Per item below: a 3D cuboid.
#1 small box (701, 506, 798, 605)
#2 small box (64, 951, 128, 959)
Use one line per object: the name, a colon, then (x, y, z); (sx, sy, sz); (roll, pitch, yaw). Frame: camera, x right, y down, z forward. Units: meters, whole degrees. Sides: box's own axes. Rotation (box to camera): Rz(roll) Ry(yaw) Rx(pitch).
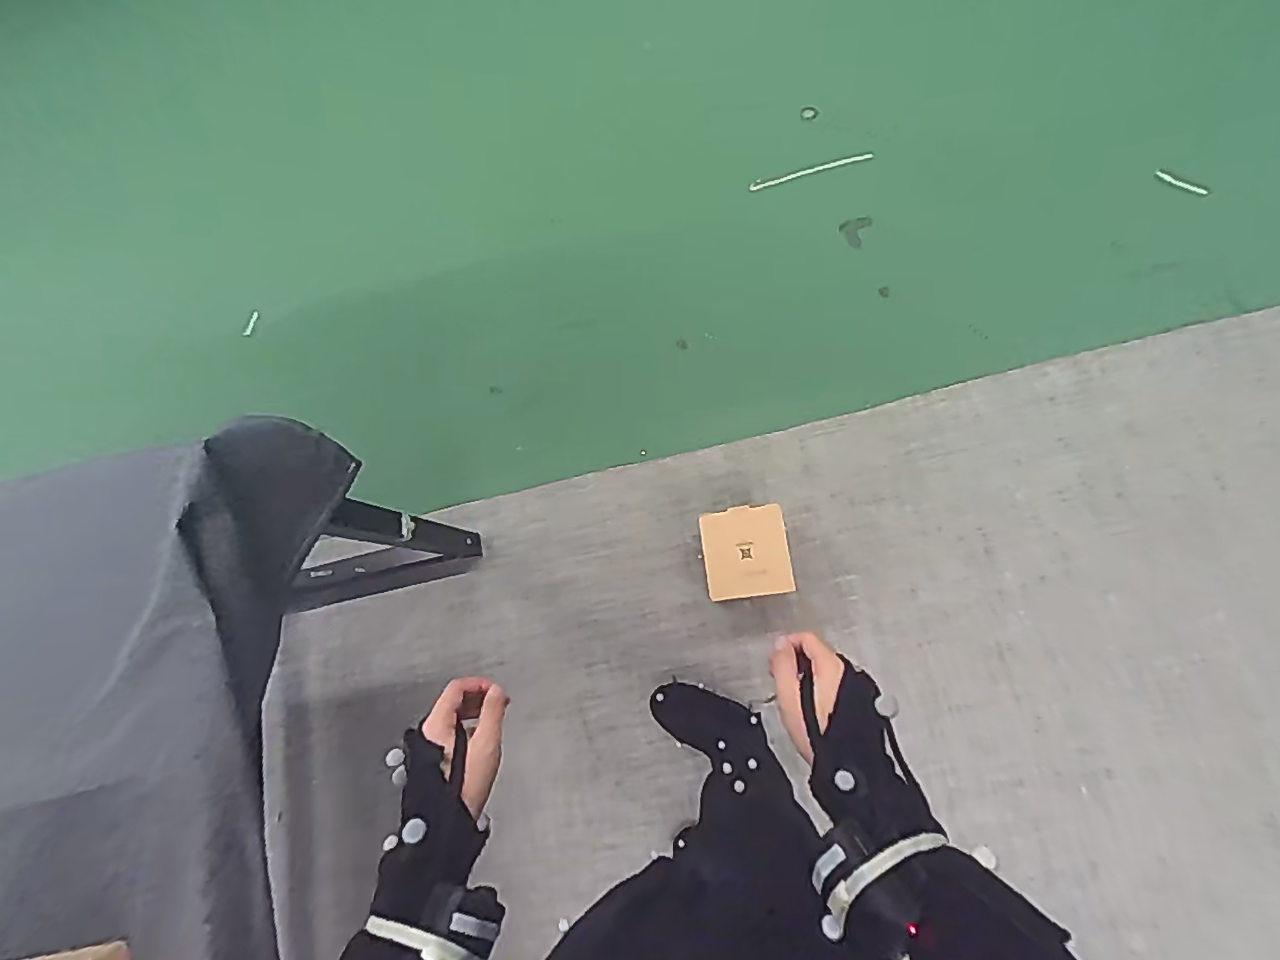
small box: (0.222, 0.164, 1.129); (0.168, 0.176, 0.179); (-10, 76, 8)
small box: (-0.546, 0.509, 0.409); (0.179, 0.176, 0.168); (-15, 75, 6)
